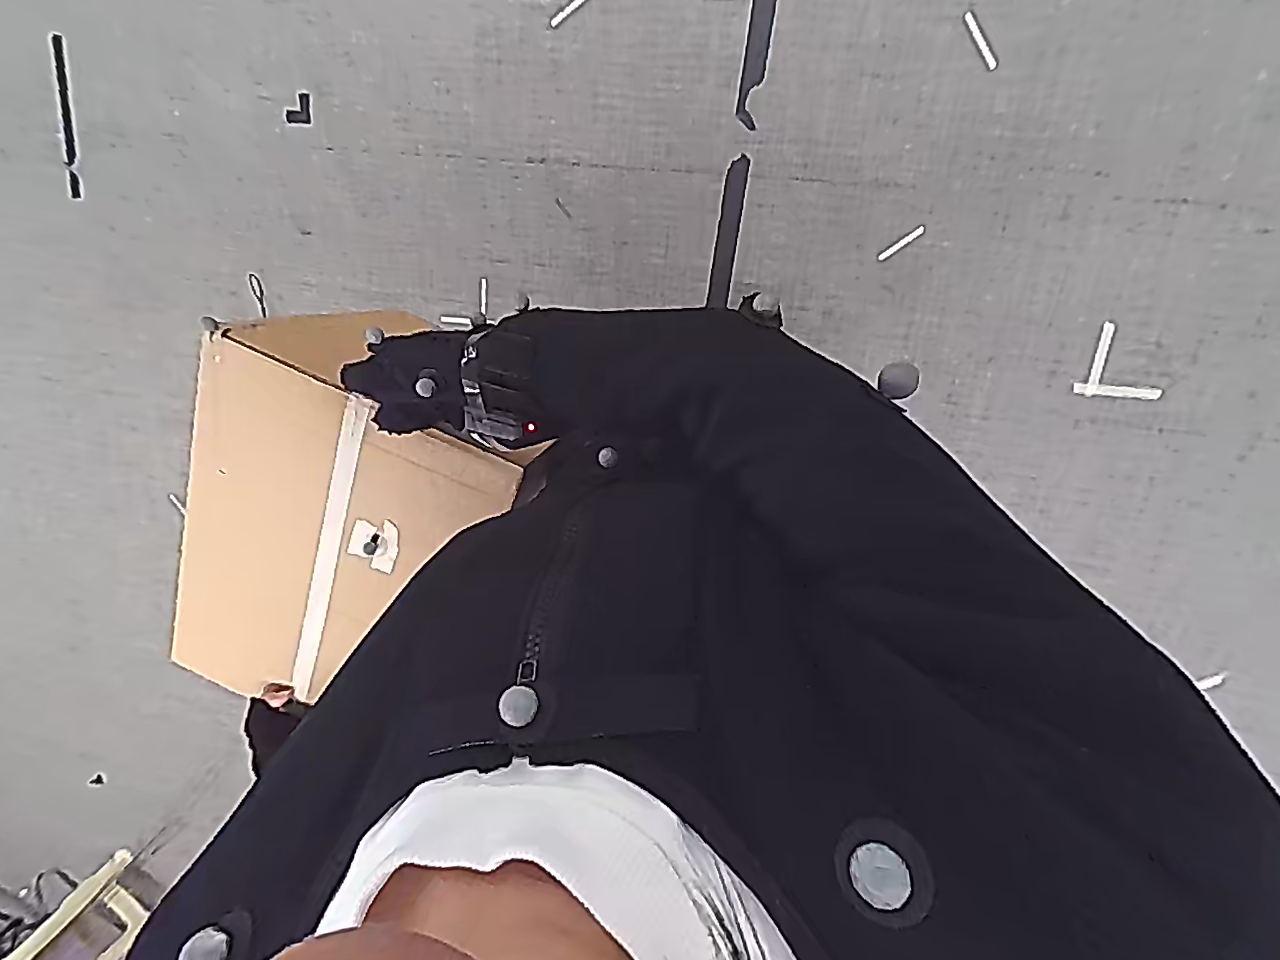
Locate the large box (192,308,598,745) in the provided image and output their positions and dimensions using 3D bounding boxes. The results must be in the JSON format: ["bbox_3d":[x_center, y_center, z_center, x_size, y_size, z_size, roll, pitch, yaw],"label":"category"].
[{"bbox_3d":[-0.287,0.031,0.695,0.320,0.320,0.408,23,110,0],"label":"large box"}]
